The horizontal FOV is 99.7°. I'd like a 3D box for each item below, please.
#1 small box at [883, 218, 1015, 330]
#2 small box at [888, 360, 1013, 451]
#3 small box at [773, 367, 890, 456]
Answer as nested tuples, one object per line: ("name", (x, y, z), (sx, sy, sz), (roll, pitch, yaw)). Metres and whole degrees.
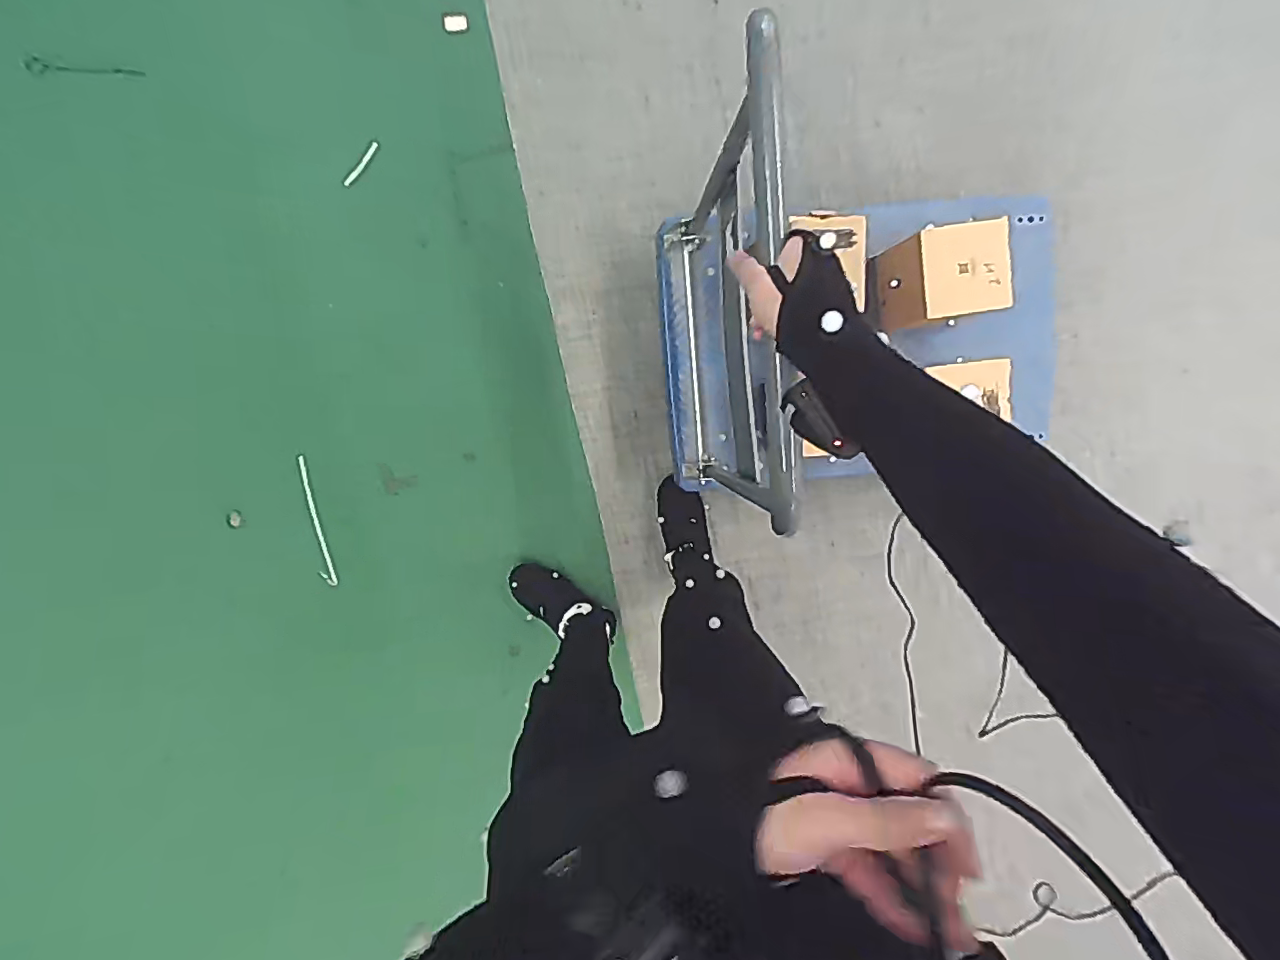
("small box", (0.610, -0.406, 1.090), (0.179, 0.176, 0.168), (-8, 98, -3))
("small box", (0.631, -0.153, 1.120), (0.179, 0.176, 0.168), (-6, 96, -3))
("small box", (0.383, -0.140, 1.103), (0.179, 0.176, 0.168), (-3, 97, -4))
